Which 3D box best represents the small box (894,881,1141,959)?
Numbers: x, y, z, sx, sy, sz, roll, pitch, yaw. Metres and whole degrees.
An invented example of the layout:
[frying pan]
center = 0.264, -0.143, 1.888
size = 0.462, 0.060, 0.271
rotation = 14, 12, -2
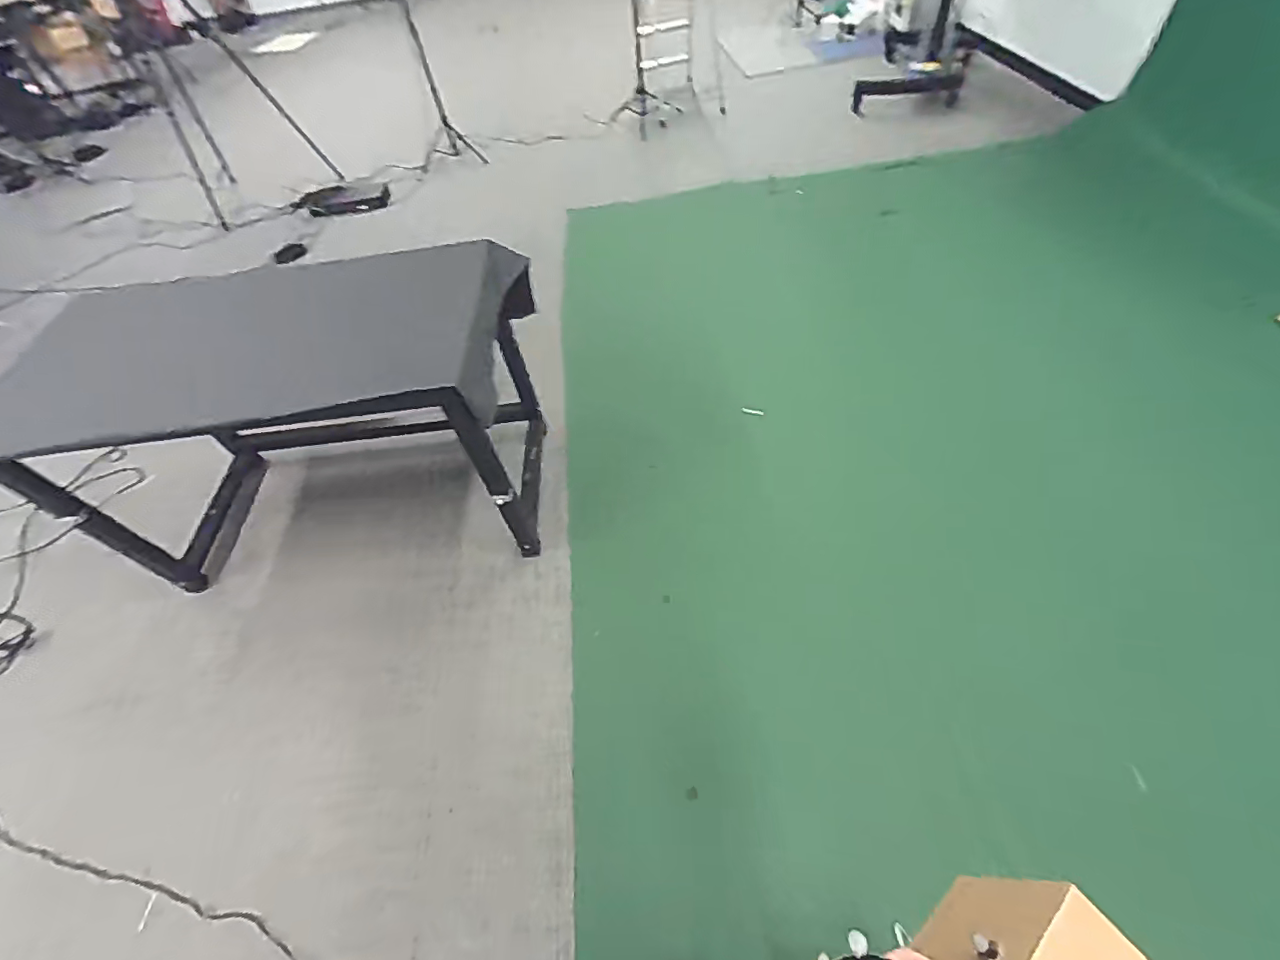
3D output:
[small box]
center = 0.312, 0.455, 0.425
size = 0.179, 0.176, 0.168
rotation = -34, 63, -23
